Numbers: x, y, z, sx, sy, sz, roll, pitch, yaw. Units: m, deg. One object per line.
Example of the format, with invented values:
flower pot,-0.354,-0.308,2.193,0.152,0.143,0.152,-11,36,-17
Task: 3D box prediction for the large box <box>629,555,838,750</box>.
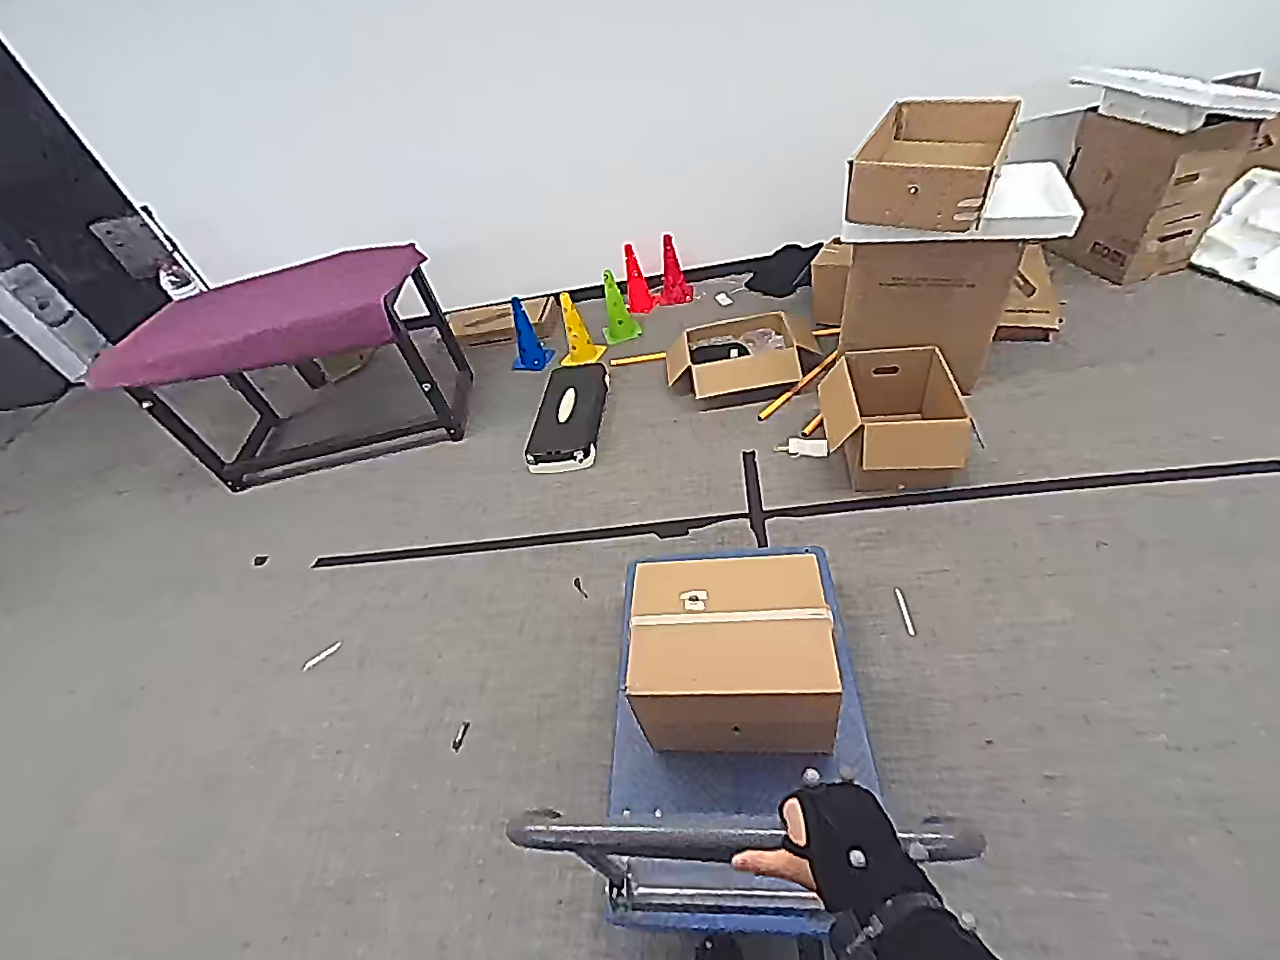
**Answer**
large box,0.209,0.402,1.234,0.408,0.320,0.320,-6,43,11
